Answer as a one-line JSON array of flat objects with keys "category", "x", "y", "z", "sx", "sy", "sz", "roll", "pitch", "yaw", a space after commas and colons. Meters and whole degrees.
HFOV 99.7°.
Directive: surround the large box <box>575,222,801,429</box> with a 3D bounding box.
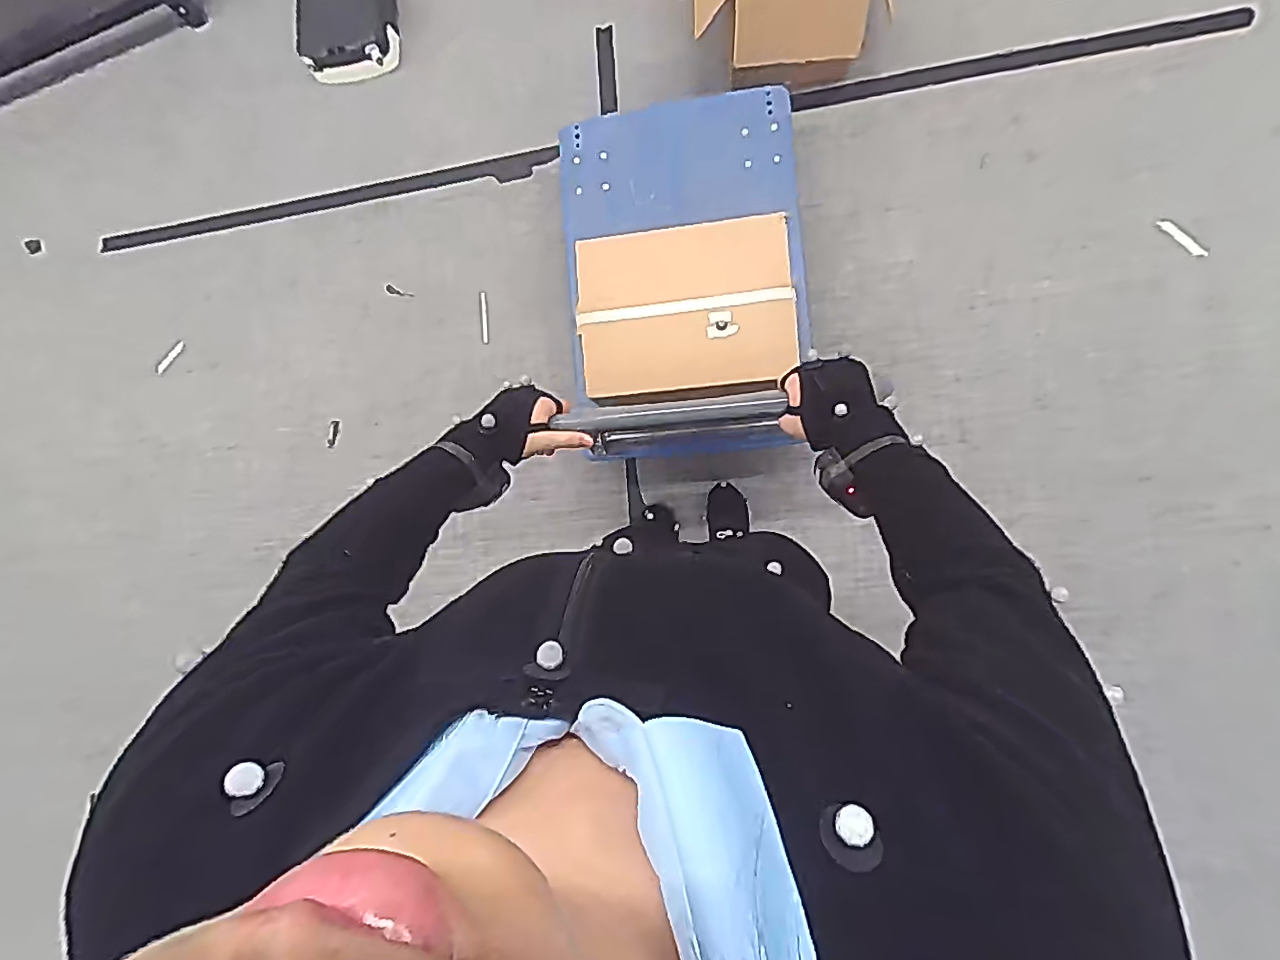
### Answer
[{"category": "large box", "x": 0.100, "y": -0.299, "z": 1.157, "sx": 0.408, "sy": 0.320, "sz": 0.320, "roll": -5, "pitch": 88, "yaw": 7}]
